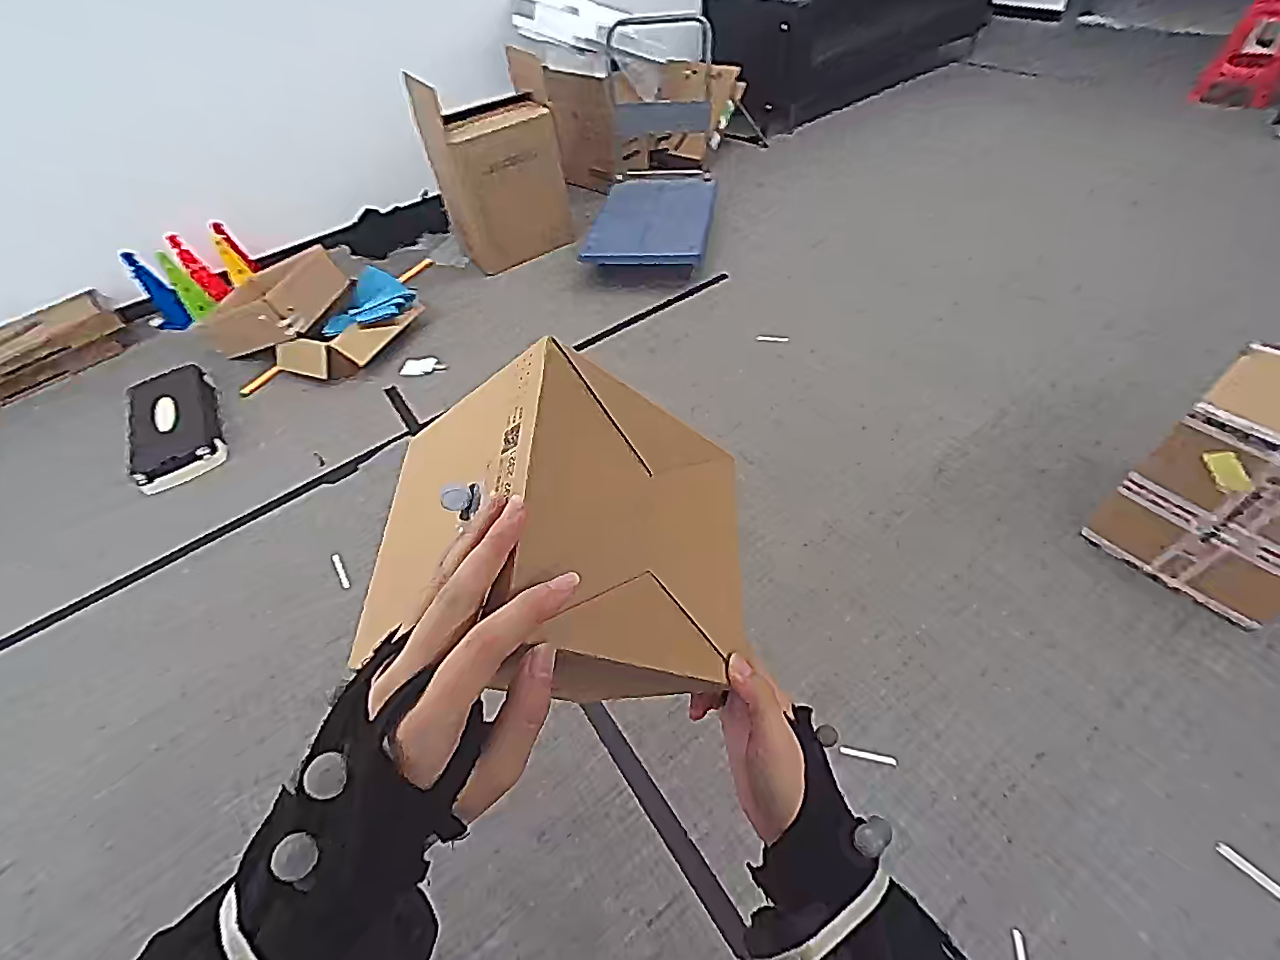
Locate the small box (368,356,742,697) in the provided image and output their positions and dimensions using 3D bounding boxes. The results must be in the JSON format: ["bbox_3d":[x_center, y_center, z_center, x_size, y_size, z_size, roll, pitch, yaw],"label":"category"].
[{"bbox_3d":[-0.046,0.050,0.368,0.176,0.179,0.168,-23,53,38],"label":"small box"}]
